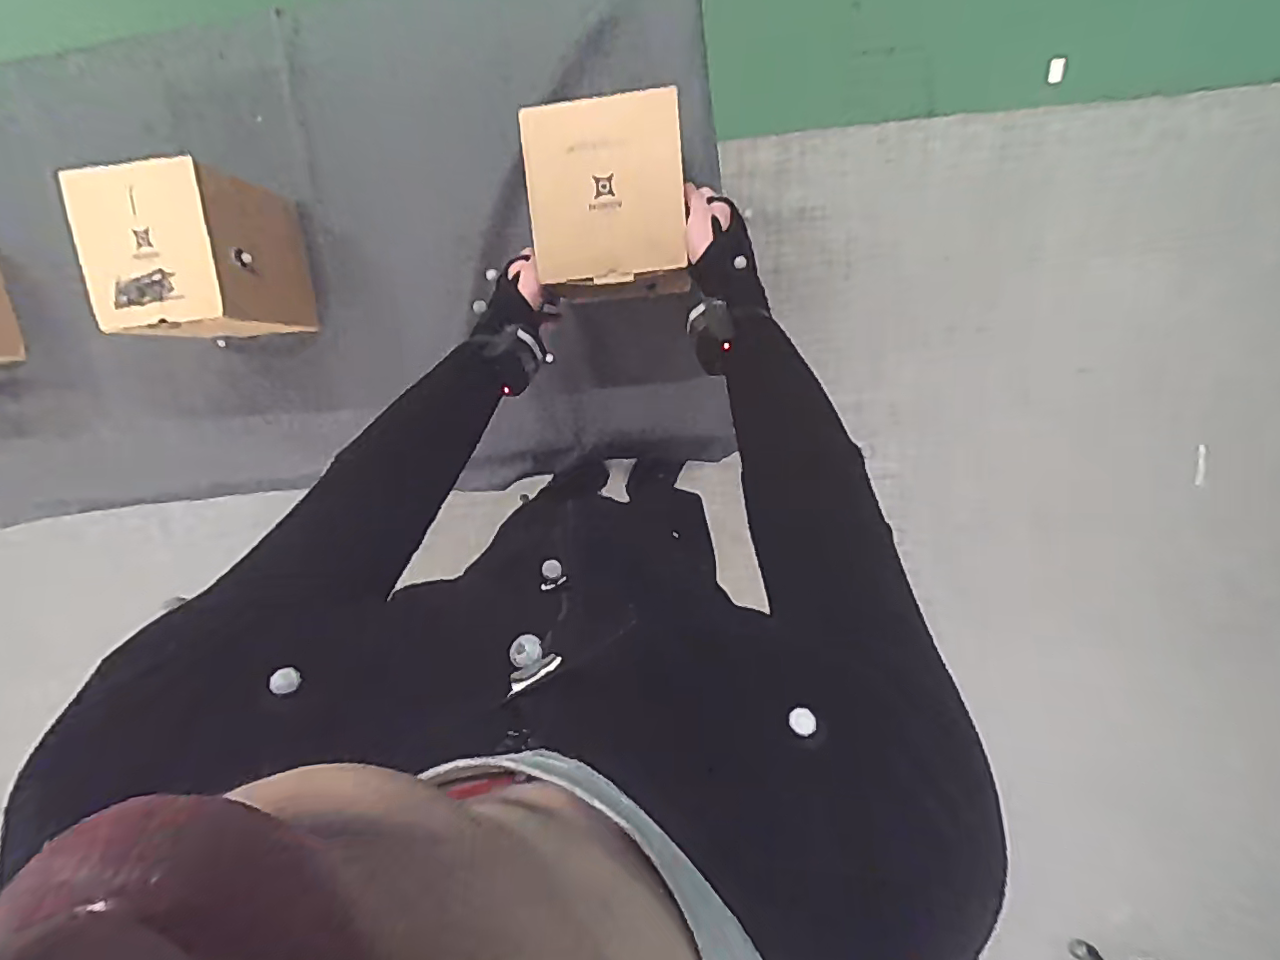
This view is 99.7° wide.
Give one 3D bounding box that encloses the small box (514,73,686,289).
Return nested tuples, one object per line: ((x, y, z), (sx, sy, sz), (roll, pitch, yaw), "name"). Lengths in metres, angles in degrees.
((-0.033, -0.325, 0.629), (0.168, 0.176, 0.179), (-4, 102, 5), "small box")

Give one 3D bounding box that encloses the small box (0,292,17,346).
((-1.026, -0.262, 0.729), (0.168, 0.176, 0.179), (-5, 104, 4), "small box")

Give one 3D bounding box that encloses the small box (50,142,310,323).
((-0.555, -0.294, 0.683), (0.168, 0.176, 0.179), (-3, 102, 5), "small box")
